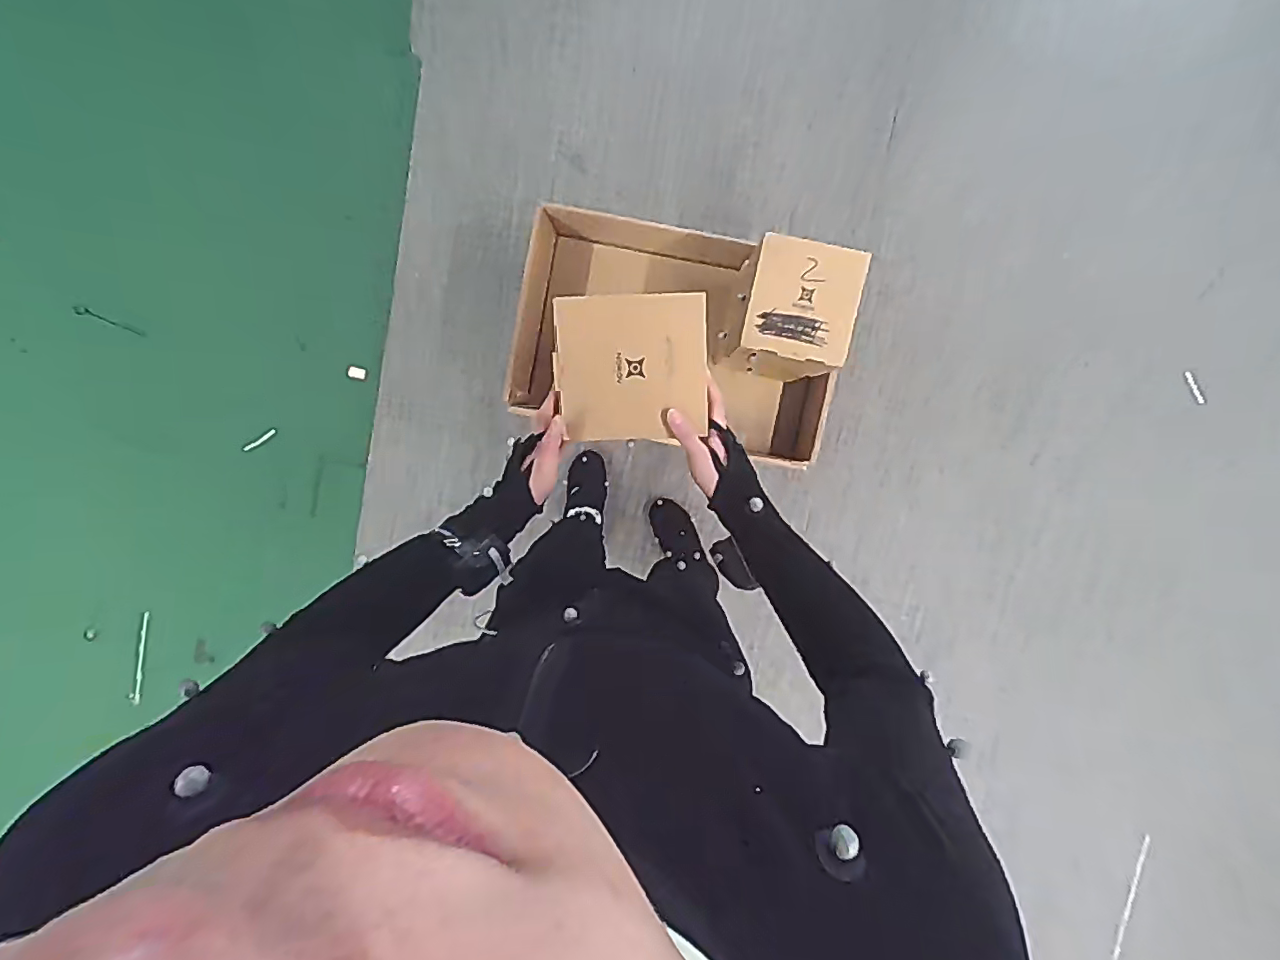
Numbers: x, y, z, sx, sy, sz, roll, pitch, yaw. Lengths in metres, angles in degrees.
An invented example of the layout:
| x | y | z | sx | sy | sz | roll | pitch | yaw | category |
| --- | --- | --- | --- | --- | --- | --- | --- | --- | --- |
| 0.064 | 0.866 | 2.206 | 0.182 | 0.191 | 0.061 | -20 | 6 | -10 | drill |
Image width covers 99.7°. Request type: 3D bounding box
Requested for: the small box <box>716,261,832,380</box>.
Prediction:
| x | y | z | sx | sy | sz | roll | pitch | yaw | category |
| --- | --- | --- | --- | --- | --- | --- | --- | --- | --- |
| 0.252 | -0.304 | 1.062 | 0.168 | 0.176 | 0.179 | 12 | 97 | 0 | small box |

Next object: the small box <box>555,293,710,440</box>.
| x | y | z | sx | sy | sz | roll | pitch | yaw | category |
| --- | --- | --- | --- | --- | --- | --- | --- | --- | --- |
| -0.008 | -0.140 | 0.696 | 0.179 | 0.176 | 0.168 | -2 | 99 | -2 | small box |
